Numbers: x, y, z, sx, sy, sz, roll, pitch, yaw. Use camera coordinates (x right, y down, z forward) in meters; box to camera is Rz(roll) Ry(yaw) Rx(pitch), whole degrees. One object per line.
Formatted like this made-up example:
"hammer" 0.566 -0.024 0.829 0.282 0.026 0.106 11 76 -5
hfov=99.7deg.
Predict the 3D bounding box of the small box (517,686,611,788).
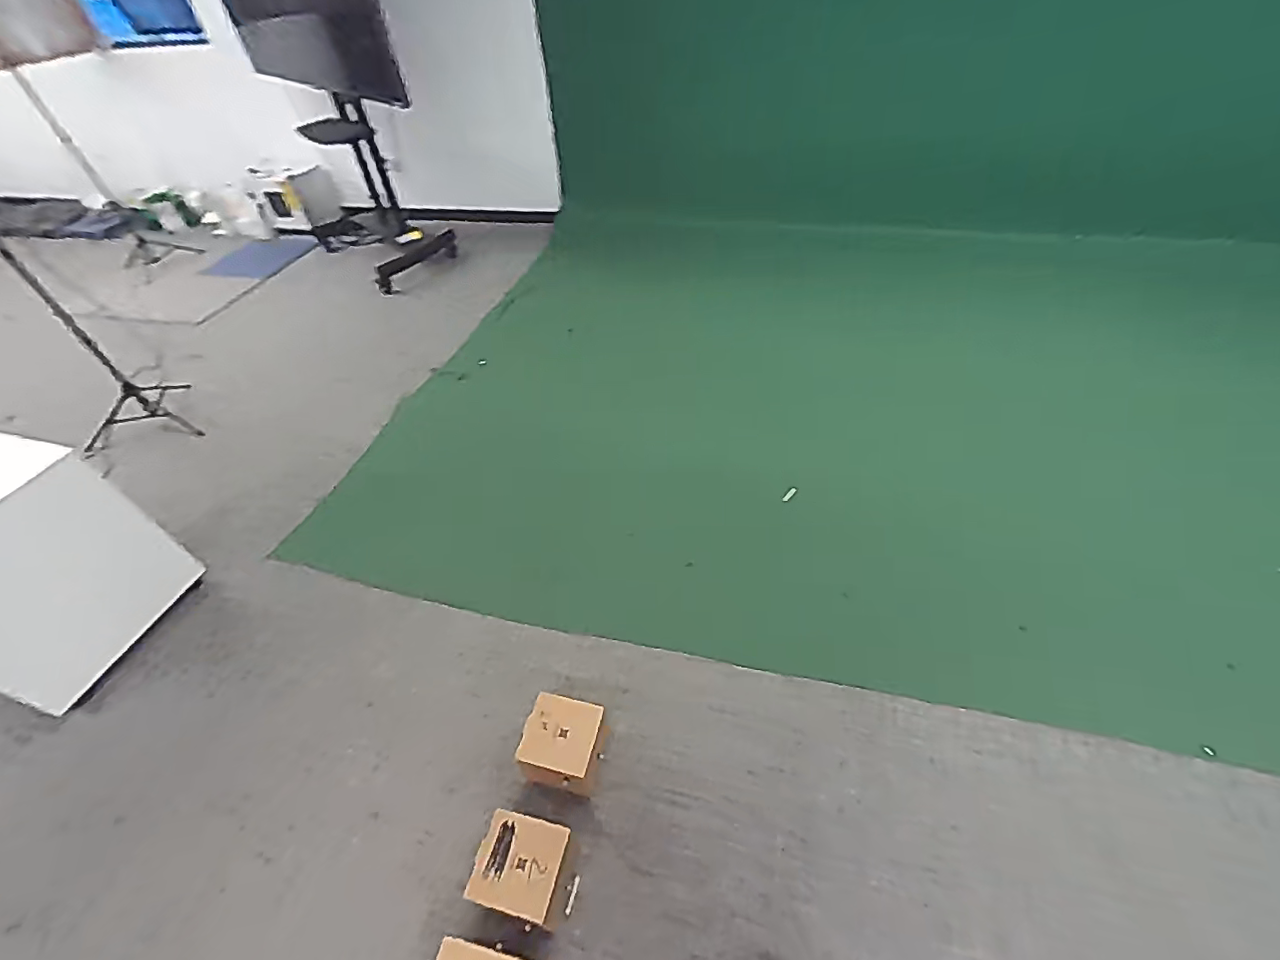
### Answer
"small box" -0.178 0.643 1.343 0.179 0.176 0.168 8 47 12

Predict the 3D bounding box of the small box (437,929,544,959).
"small box" -0.296 0.982 1.023 0.179 0.176 0.168 7 48 13
